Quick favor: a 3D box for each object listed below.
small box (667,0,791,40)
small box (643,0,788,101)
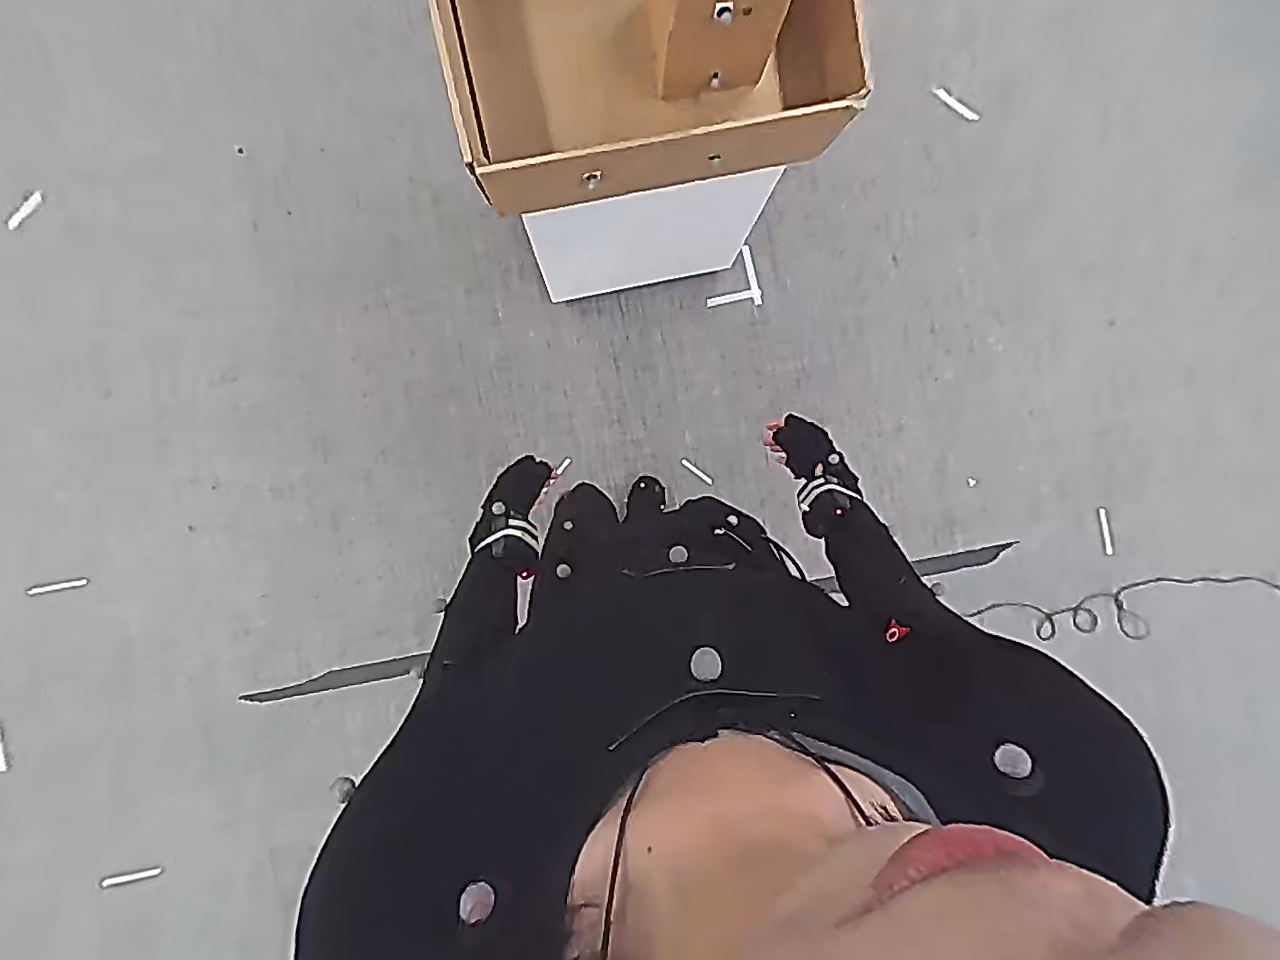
[{"bbox_3d":[0.111,-0.708,0.671,0.168,0.176,0.179,-12,96,1],"label":"small box"},{"bbox_3d":[0.107,-0.730,0.833,0.179,0.176,0.168,-12,95,-1],"label":"small box"}]
